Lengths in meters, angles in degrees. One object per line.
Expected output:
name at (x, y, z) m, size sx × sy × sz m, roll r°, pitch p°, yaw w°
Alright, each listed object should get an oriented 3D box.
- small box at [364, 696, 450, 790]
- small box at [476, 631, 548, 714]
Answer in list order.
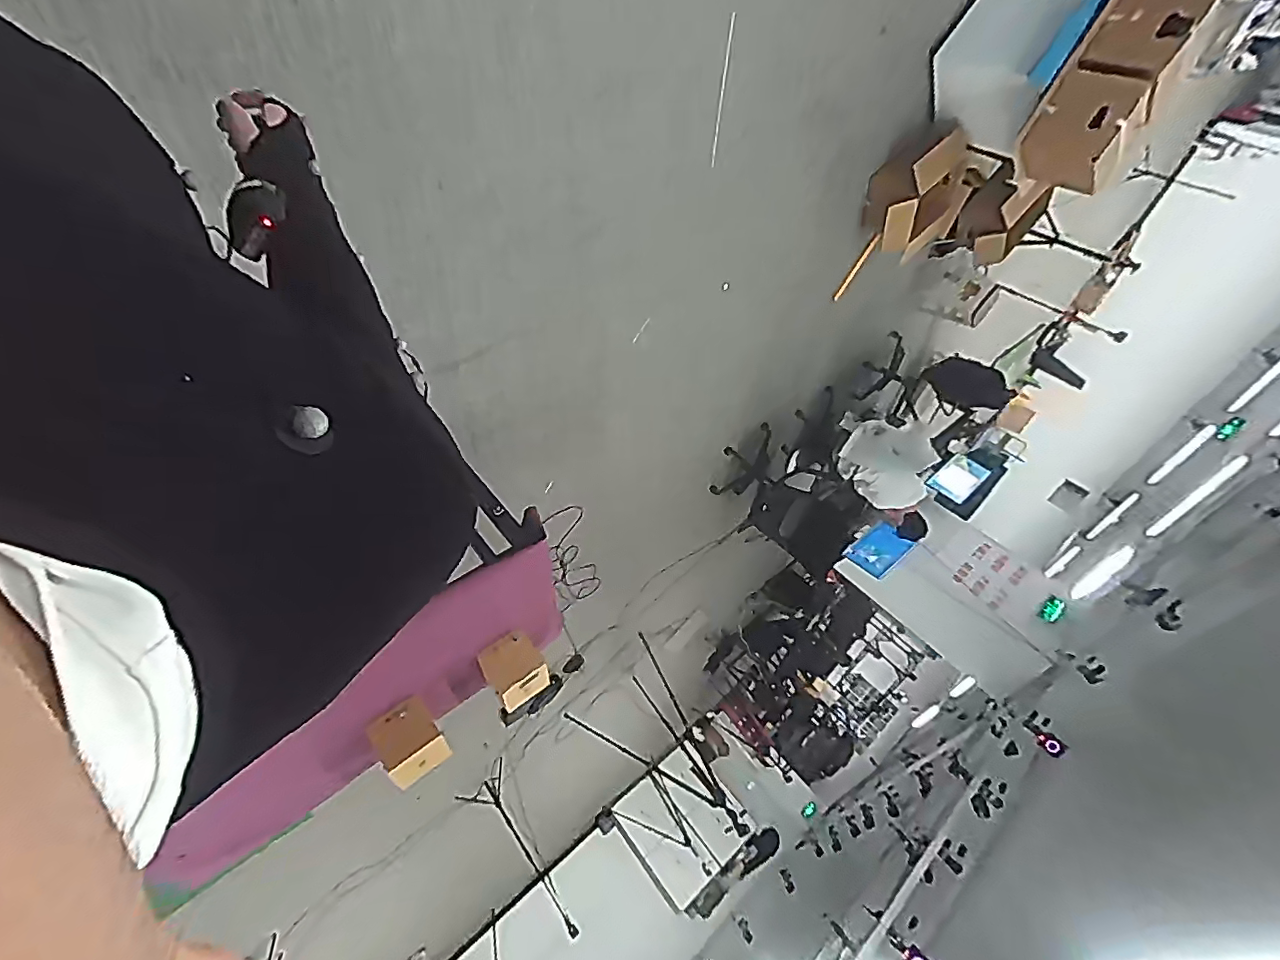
small box at (-0.702, 0.788, 1.632) m, size 0.168 × 0.176 × 0.179 m, roll -30°, pitch 146°, yaw -30°
small box at (-0.428, 0.635, 1.805) m, size 0.168 × 0.176 × 0.179 m, roll -30°, pitch 146°, yaw -28°
